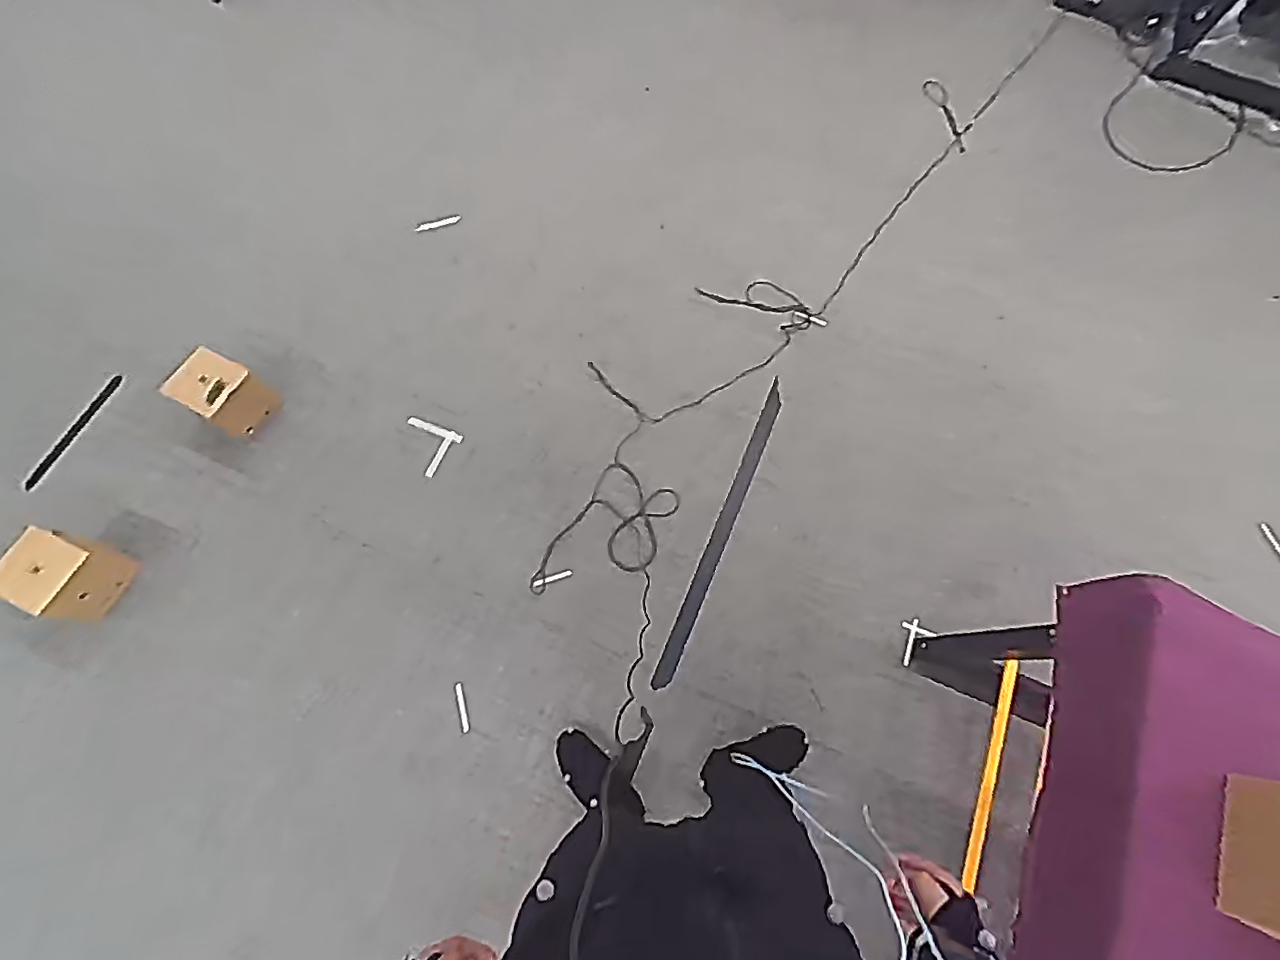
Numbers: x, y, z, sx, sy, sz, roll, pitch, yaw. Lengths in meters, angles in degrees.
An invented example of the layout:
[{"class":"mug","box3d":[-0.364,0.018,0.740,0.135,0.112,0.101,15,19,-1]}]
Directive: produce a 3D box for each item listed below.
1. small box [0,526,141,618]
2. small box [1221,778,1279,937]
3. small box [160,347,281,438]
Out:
[{"class":"small box","box3d":[-1.445,0.239,1.369,0.179,0.176,0.168,24,72,6]},{"class":"small box","box3d":[0.864,0.493,0.645,0.168,0.176,0.179,25,72,5]},{"class":"small box","box3d":[-1.186,-0.241,1.547,0.179,0.176,0.168,26,71,6]}]
